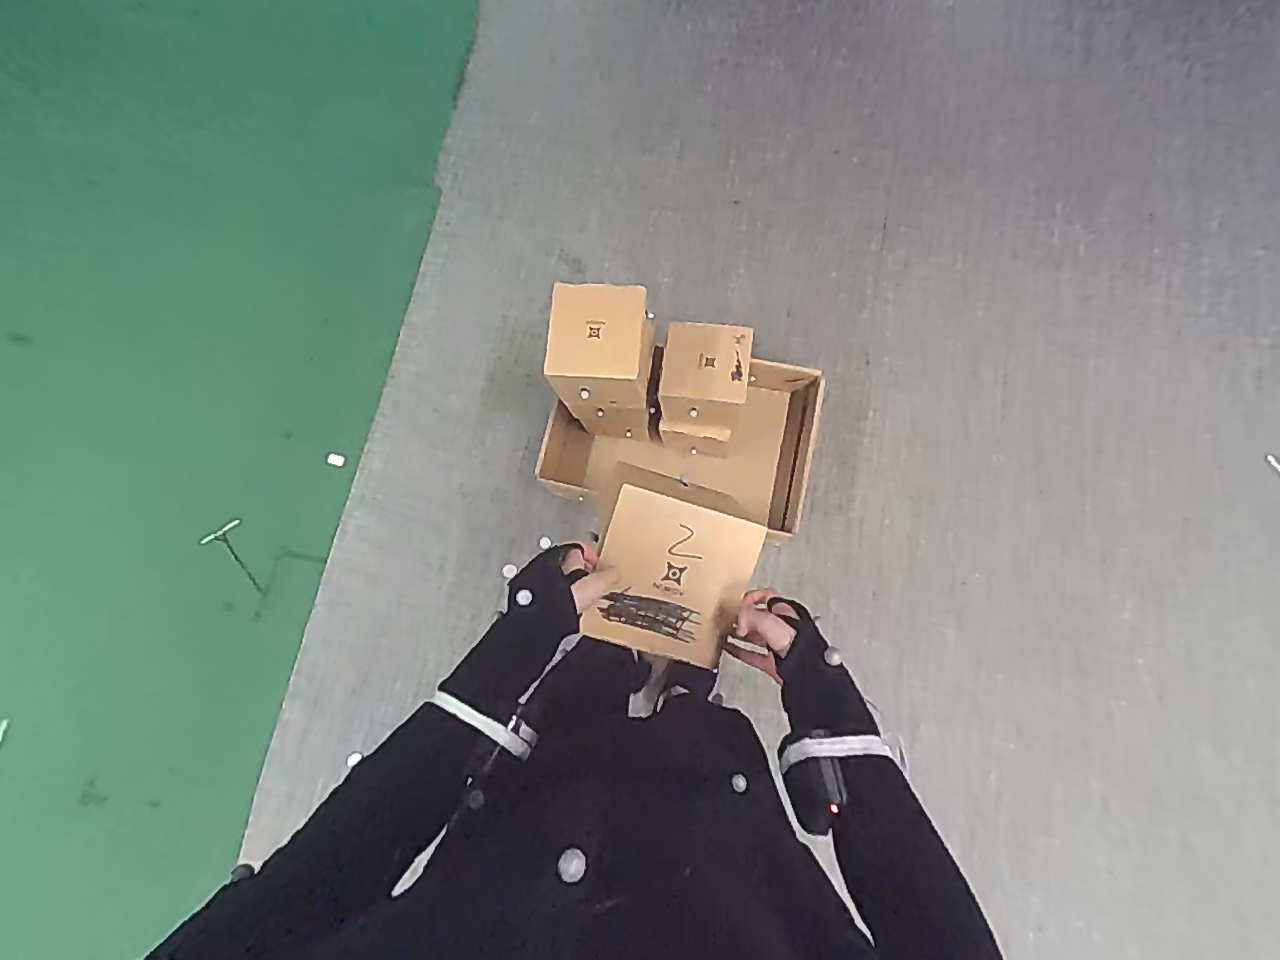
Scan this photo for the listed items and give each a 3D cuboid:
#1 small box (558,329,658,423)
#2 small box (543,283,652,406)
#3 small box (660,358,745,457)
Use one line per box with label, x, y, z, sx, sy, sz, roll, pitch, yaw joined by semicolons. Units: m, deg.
small box;-0.061;-0.229;1.178;0.179;0.176;0.168;8;80;8
small box;-0.071;-0.246;1.016;0.168;0.176;0.179;4;79;7
small box;0.153;-0.170;1.309;0.168;0.176;0.179;11;81;11
